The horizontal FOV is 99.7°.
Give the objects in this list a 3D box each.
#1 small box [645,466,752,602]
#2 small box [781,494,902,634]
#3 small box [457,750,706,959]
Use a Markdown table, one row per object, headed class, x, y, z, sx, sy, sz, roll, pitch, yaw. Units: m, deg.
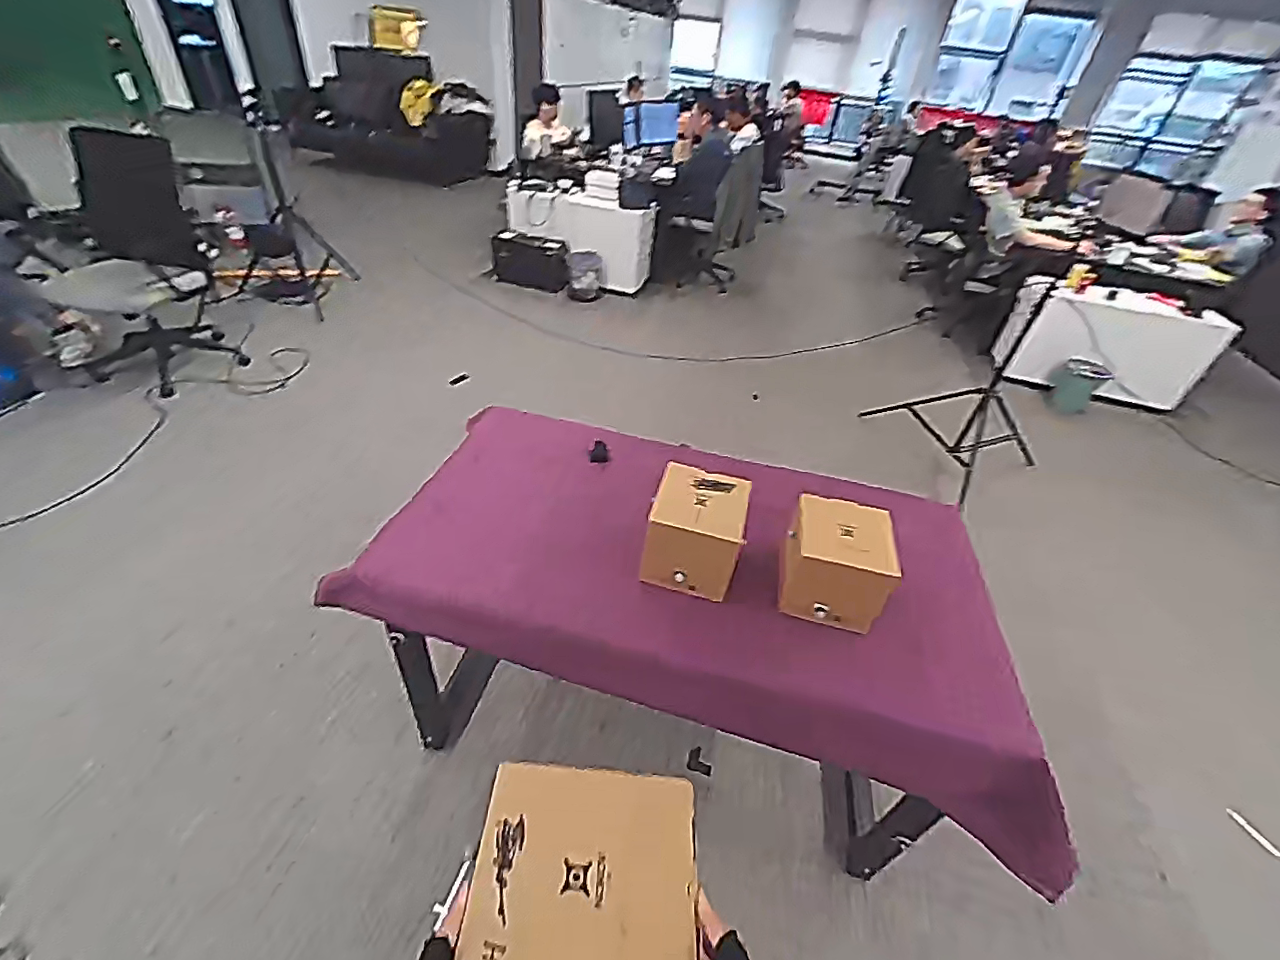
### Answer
| class | x | y | z | sx | sy | sz | roll | pitch | yaw |
| --- | --- | --- | --- | --- | --- | --- | --- | --- | --- |
| small box | 0.110 | 0.103 | 1.048 | 0.168 | 0.176 | 0.179 | 13 | 39 | 8 |
| small box | 0.370 | 0.158 | 1.025 | 0.168 | 0.176 | 0.179 | 11 | 39 | 7 |
| small box | -0.050 | 0.363 | 0.464 | 0.179 | 0.176 | 0.168 | 8 | 36 | -4 |
